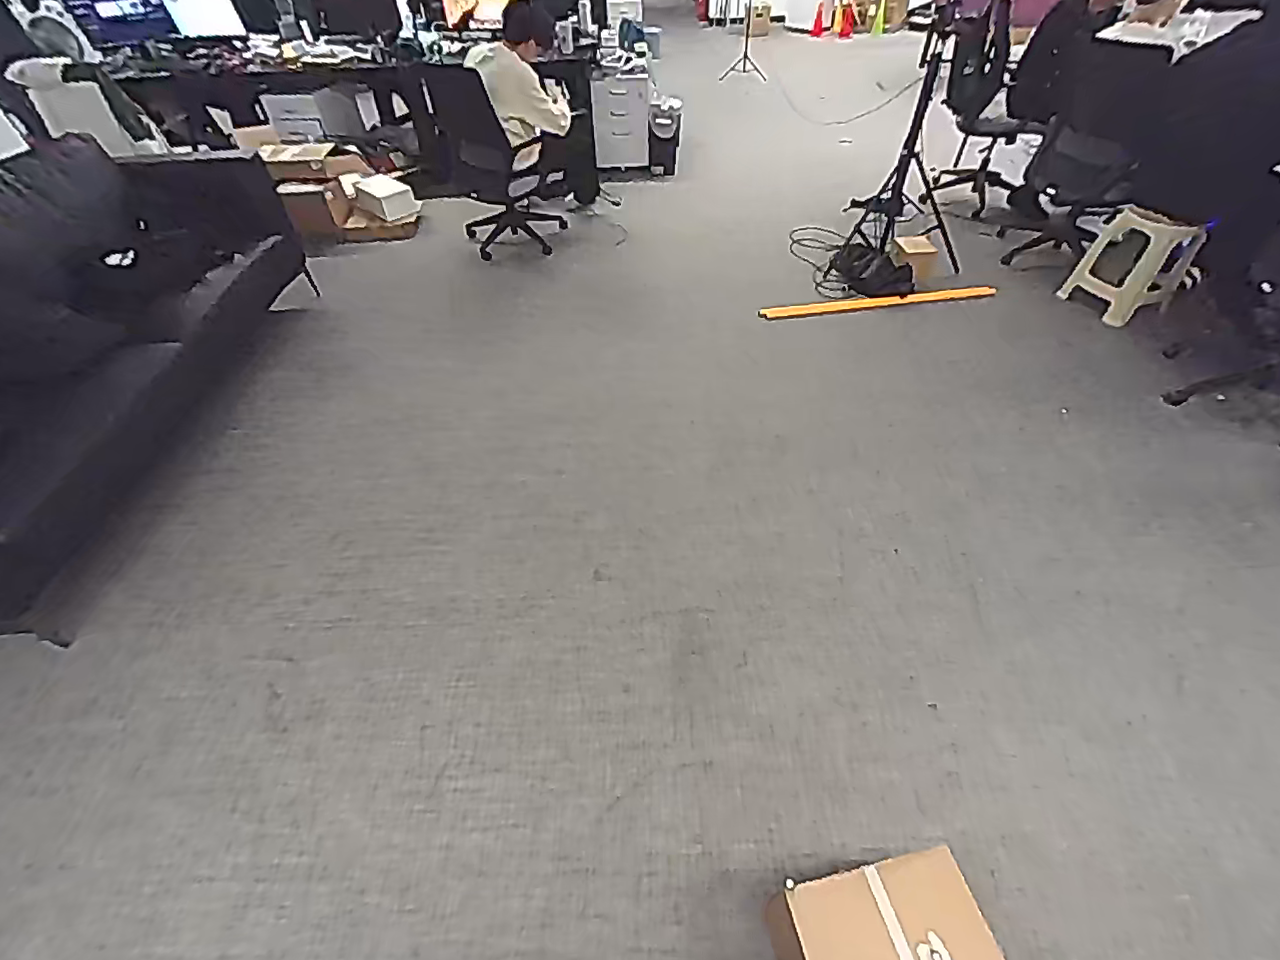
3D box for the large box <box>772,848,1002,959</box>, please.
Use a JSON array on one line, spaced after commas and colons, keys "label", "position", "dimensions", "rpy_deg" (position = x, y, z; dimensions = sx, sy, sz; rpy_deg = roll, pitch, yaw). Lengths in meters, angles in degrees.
[{"label": "large box", "position": [0.462, 0.944, 0.947], "dimensions": [0.320, 0.320, 0.408], "rpy_deg": [-11, 47, -6]}]
